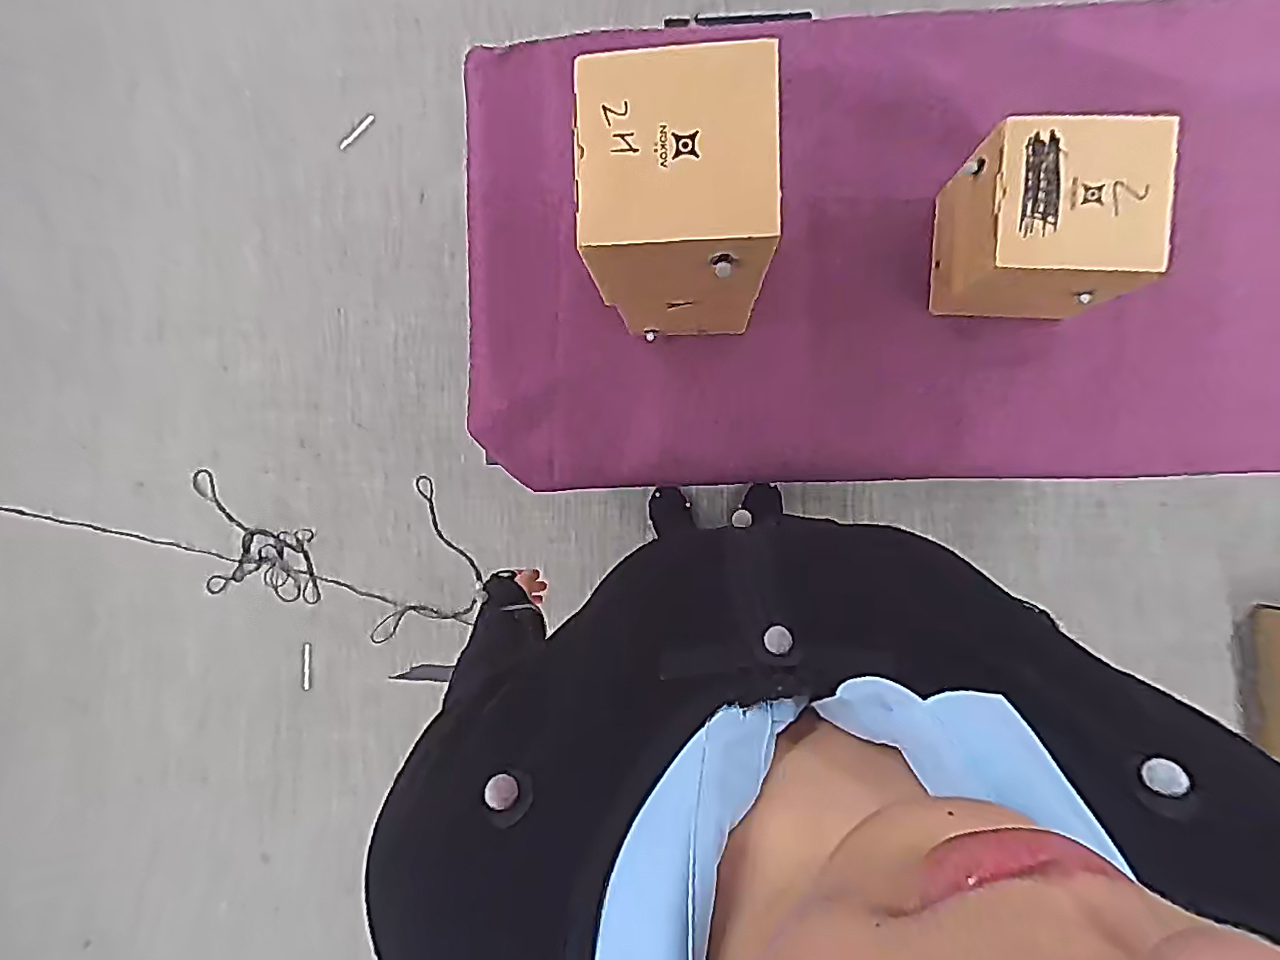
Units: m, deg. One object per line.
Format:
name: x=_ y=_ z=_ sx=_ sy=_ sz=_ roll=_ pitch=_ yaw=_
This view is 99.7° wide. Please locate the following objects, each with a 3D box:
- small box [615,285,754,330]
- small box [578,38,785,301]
small box: x=0.060 y=-0.297 z=0.700 sx=0.168 sy=0.176 sz=0.179 roll=0 pitch=90 yaw=6
small box: x=0.040 y=-0.286 z=0.536 sx=0.179 sy=0.176 sz=0.168 roll=-1 pitch=91 yaw=6
